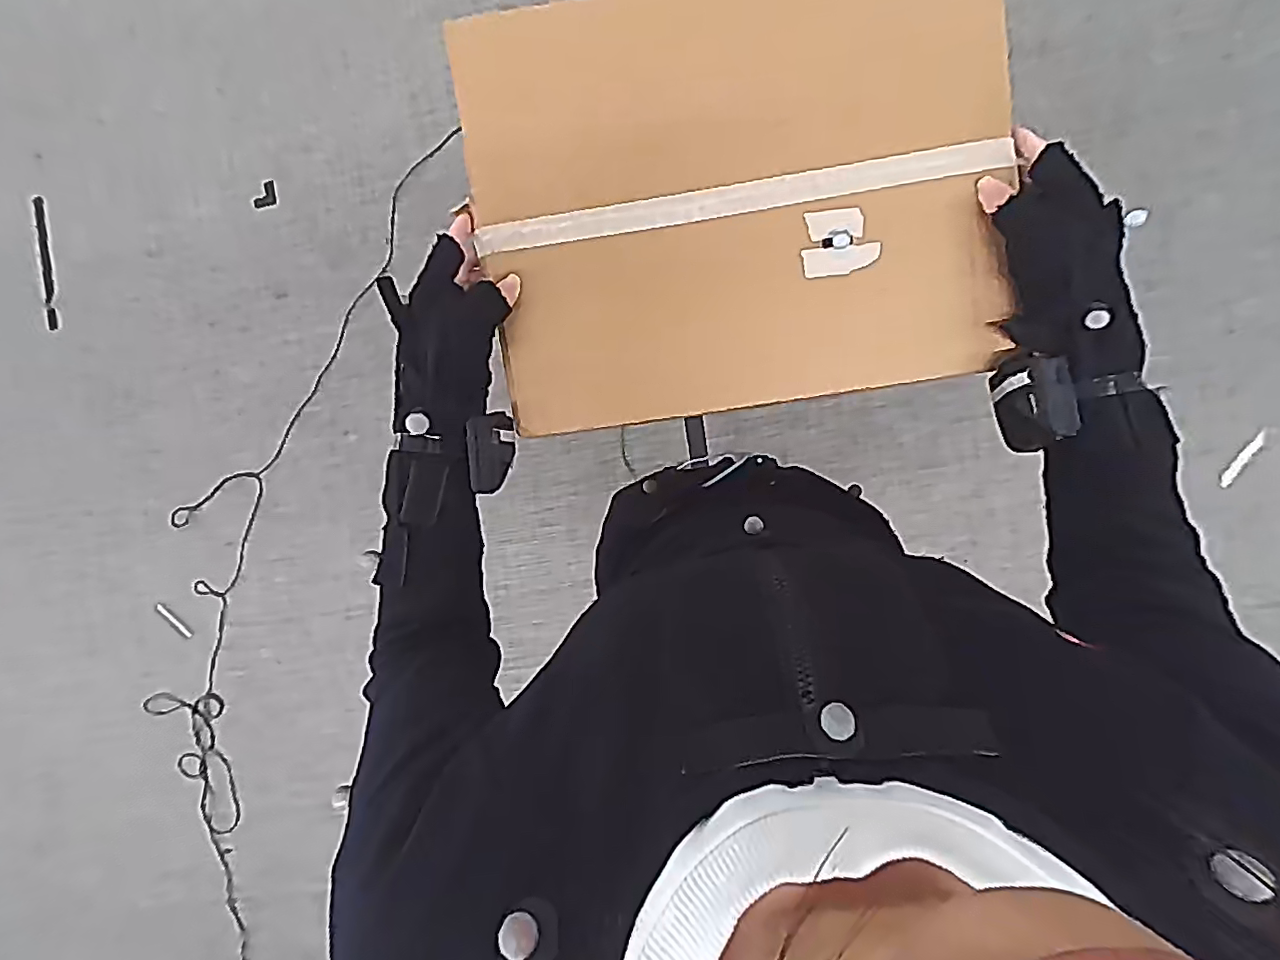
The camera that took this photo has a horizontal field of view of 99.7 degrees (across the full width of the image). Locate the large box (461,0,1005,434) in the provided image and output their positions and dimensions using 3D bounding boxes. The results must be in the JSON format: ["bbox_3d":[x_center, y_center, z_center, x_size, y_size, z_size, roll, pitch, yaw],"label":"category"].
[{"bbox_3d":[0.080,-0.236,0.576,0.408,0.320,0.320,-8,97,2],"label":"large box"}]
